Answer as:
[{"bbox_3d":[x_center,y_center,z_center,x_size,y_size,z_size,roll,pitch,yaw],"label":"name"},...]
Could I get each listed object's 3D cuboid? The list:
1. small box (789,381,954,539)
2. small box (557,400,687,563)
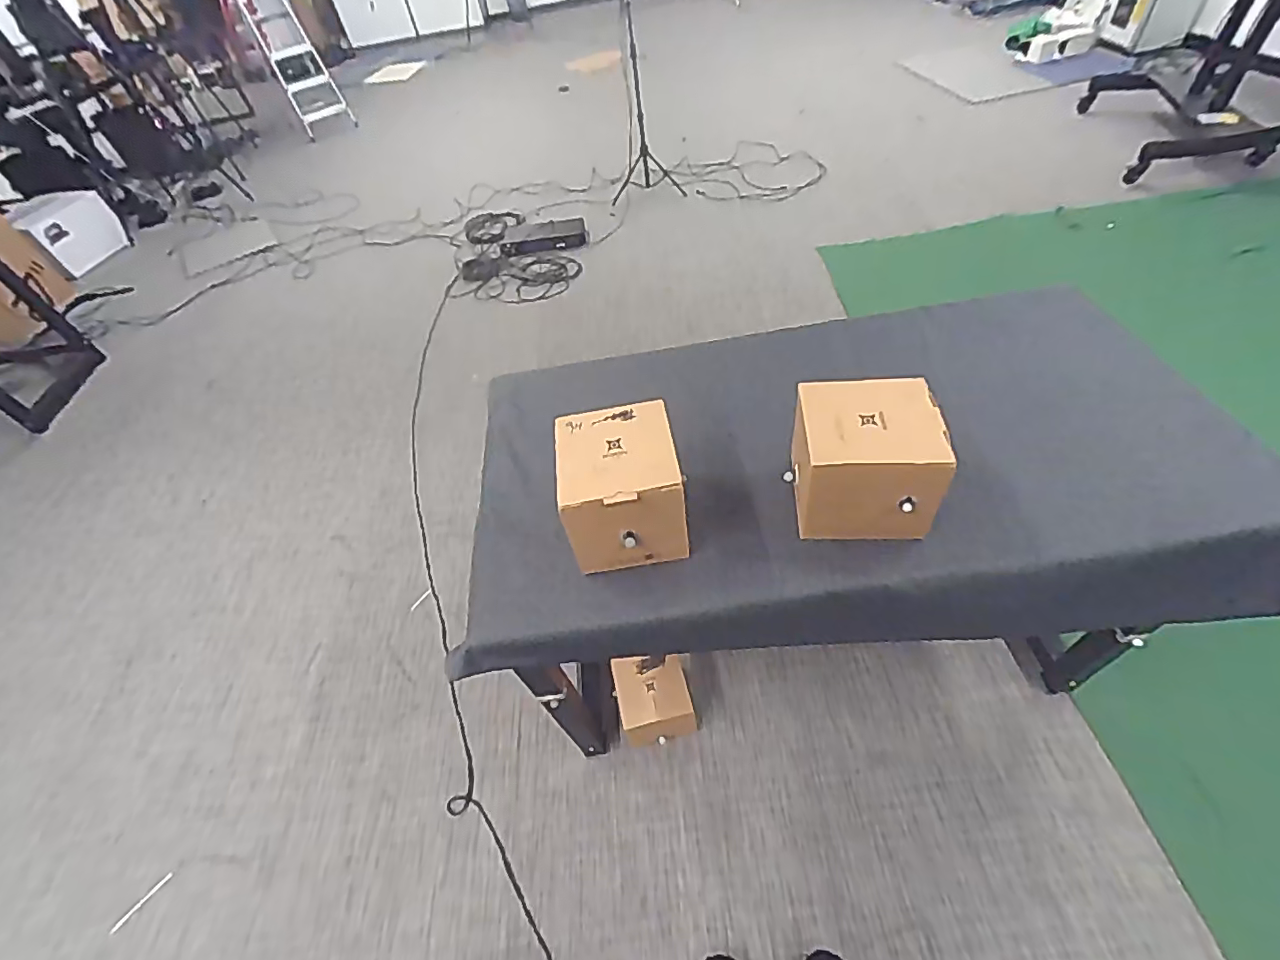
[{"bbox_3d":[0.320,-0.025,0.791,0.179,0.176,0.168,-2,48,9],"label":"small box"},{"bbox_3d":[-0.025,0.009,0.810,0.168,0.176,0.179,-9,49,0],"label":"small box"}]
